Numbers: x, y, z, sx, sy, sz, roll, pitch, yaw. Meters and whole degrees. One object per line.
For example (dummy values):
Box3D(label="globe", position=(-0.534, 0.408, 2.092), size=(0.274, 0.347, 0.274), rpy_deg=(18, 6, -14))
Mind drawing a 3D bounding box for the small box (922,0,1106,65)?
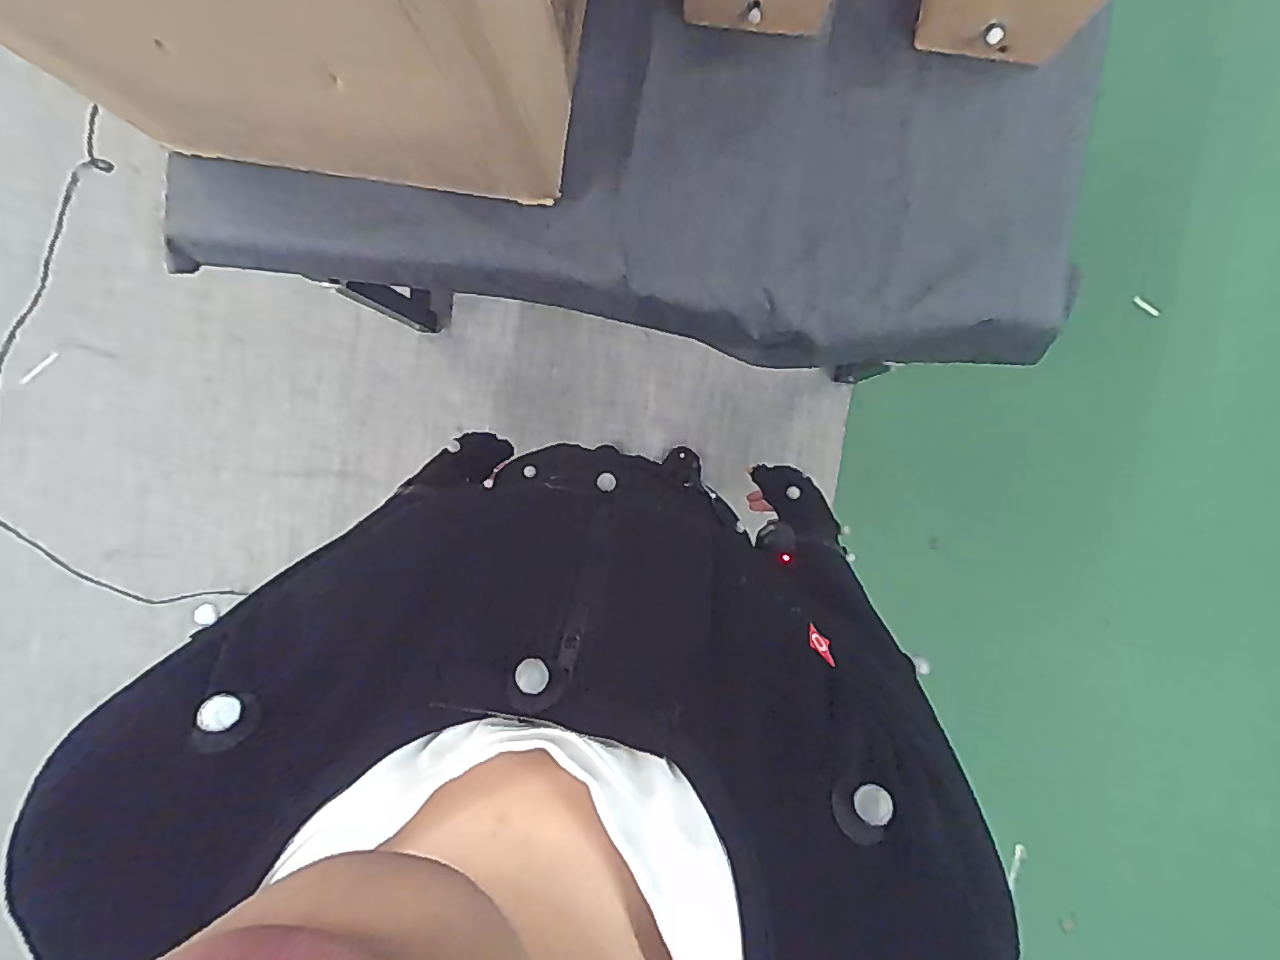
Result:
Box3D(label="small box", position=(0.445, -0.621, 0.604), size=(0.168, 0.176, 0.179), rpy_deg=(10, 95, 2))
